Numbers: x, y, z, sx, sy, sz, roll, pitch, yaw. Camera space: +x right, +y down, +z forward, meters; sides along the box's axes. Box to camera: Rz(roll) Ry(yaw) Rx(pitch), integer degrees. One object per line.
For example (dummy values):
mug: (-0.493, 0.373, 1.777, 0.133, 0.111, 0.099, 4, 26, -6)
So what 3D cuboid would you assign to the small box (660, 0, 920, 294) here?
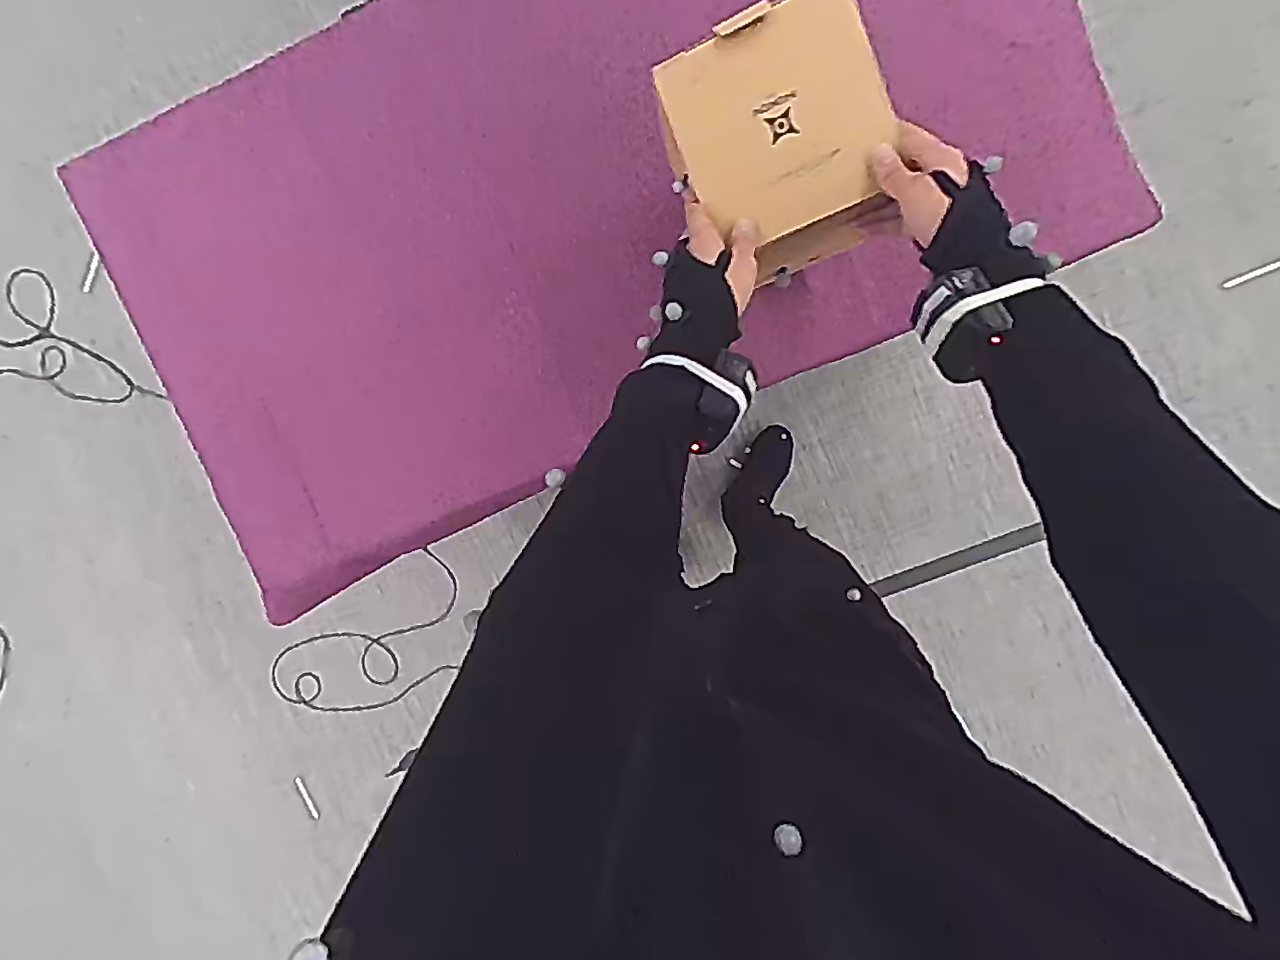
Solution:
small box: (0.130, -0.303, 0.515, 0.168, 0.176, 0.179, -20, 93, 11)
